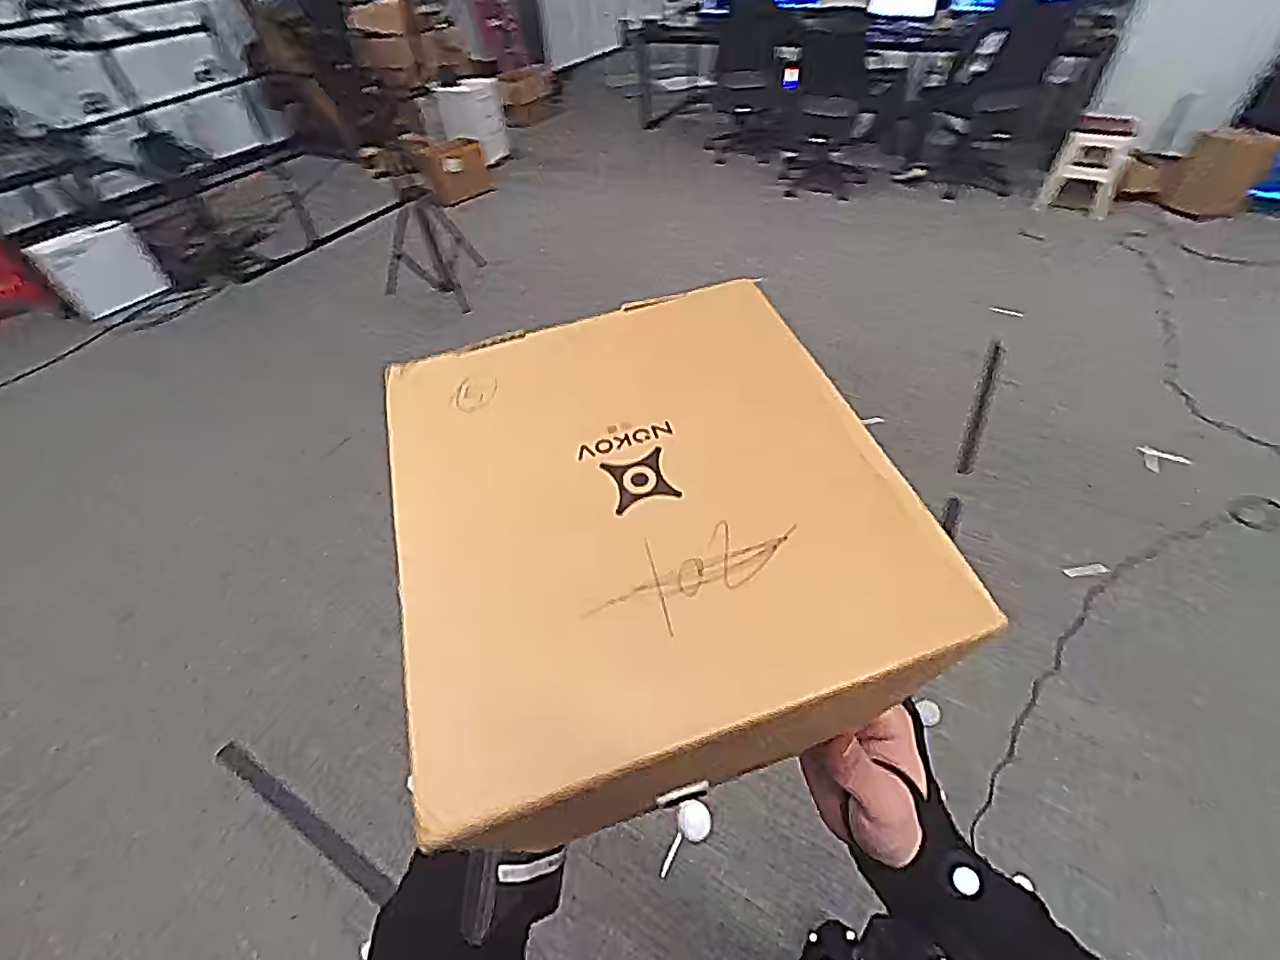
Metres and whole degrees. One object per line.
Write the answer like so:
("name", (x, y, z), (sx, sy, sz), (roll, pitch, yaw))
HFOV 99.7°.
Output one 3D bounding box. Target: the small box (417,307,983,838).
("small box", (0.008, 0.051, 0.268), (0.168, 0.176, 0.179), (-17, 56, -7))
